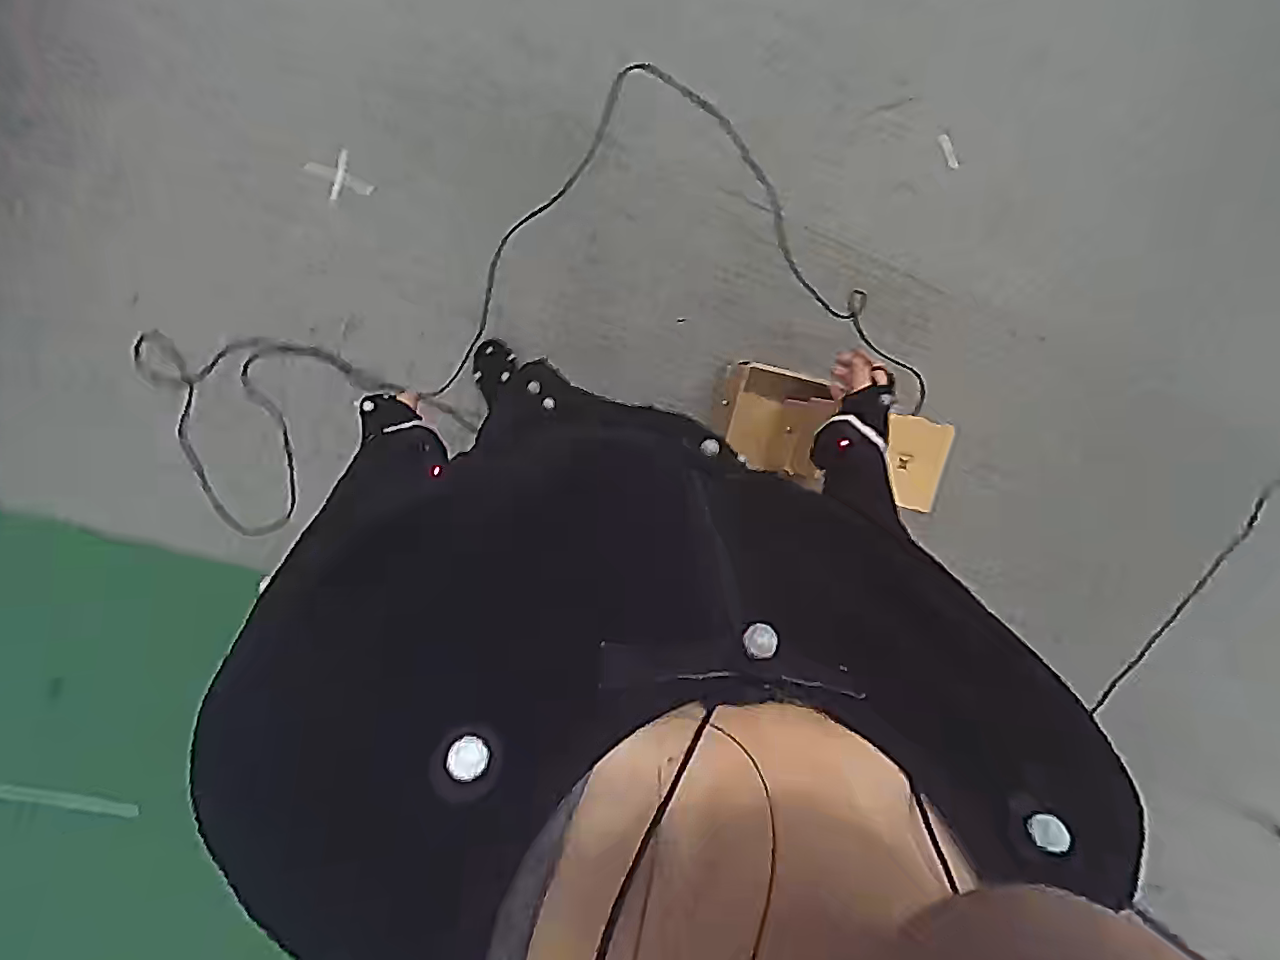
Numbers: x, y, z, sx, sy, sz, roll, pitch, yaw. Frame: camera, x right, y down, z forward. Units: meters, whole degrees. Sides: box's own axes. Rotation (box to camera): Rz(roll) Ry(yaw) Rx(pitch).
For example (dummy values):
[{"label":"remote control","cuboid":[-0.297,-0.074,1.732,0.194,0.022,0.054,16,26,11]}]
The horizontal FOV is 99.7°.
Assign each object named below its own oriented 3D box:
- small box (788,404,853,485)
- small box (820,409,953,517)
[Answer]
[{"label":"small box","cuboid":[0.471,-0.072,1.267,0.168,0.176,0.179,16,100,-10]},{"label":"small box","cuboid":[0.491,-0.041,1.109,0.168,0.176,0.179,11,99,-8]}]
